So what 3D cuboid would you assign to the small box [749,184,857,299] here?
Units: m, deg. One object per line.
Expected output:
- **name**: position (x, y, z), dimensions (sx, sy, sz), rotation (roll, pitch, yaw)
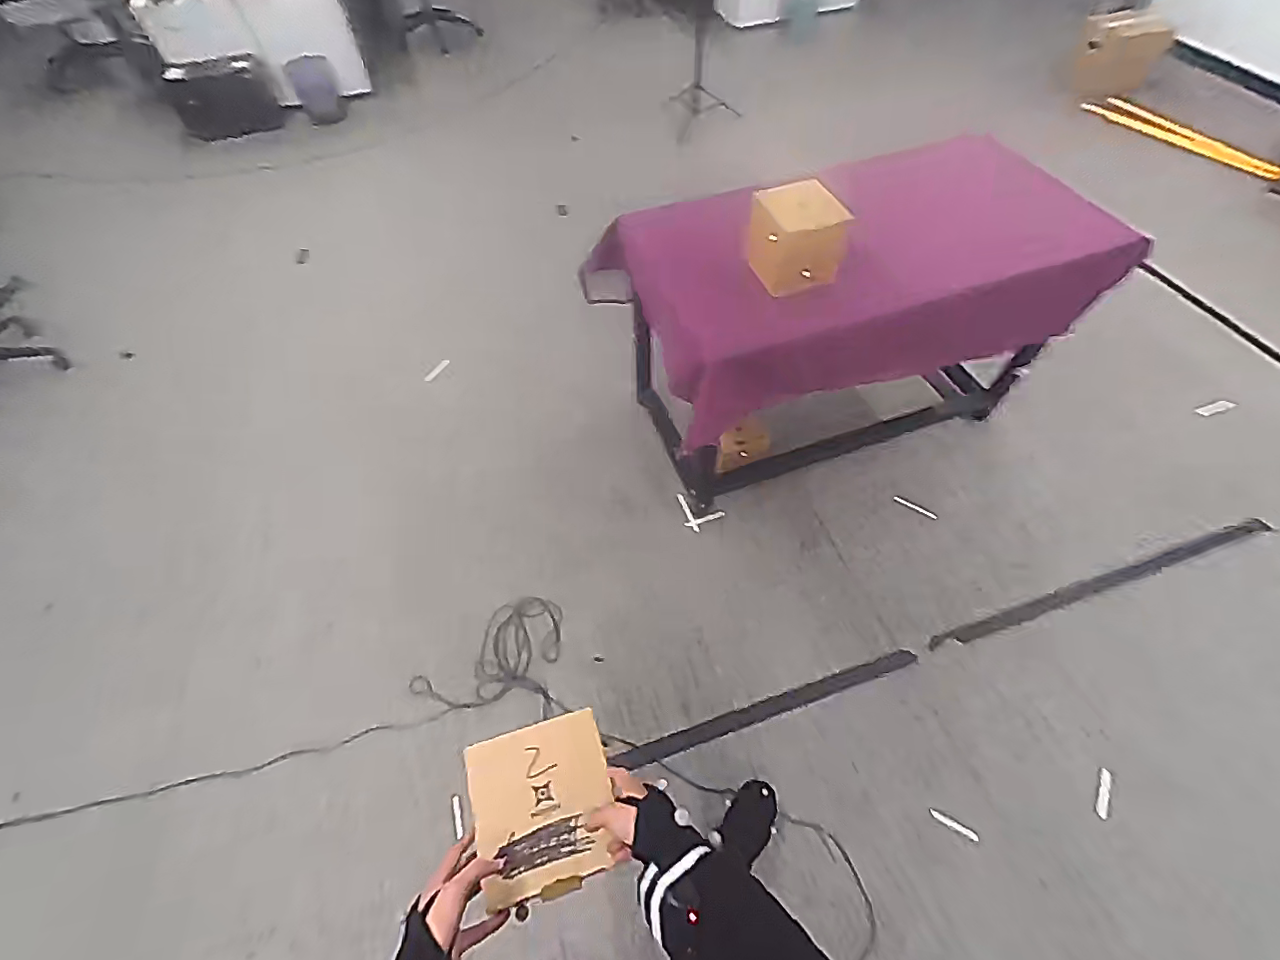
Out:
- **small box**: position (0.373, -0.560, 1.276), dimensions (0.168, 0.176, 0.179), rotation (-17, 59, -9)
